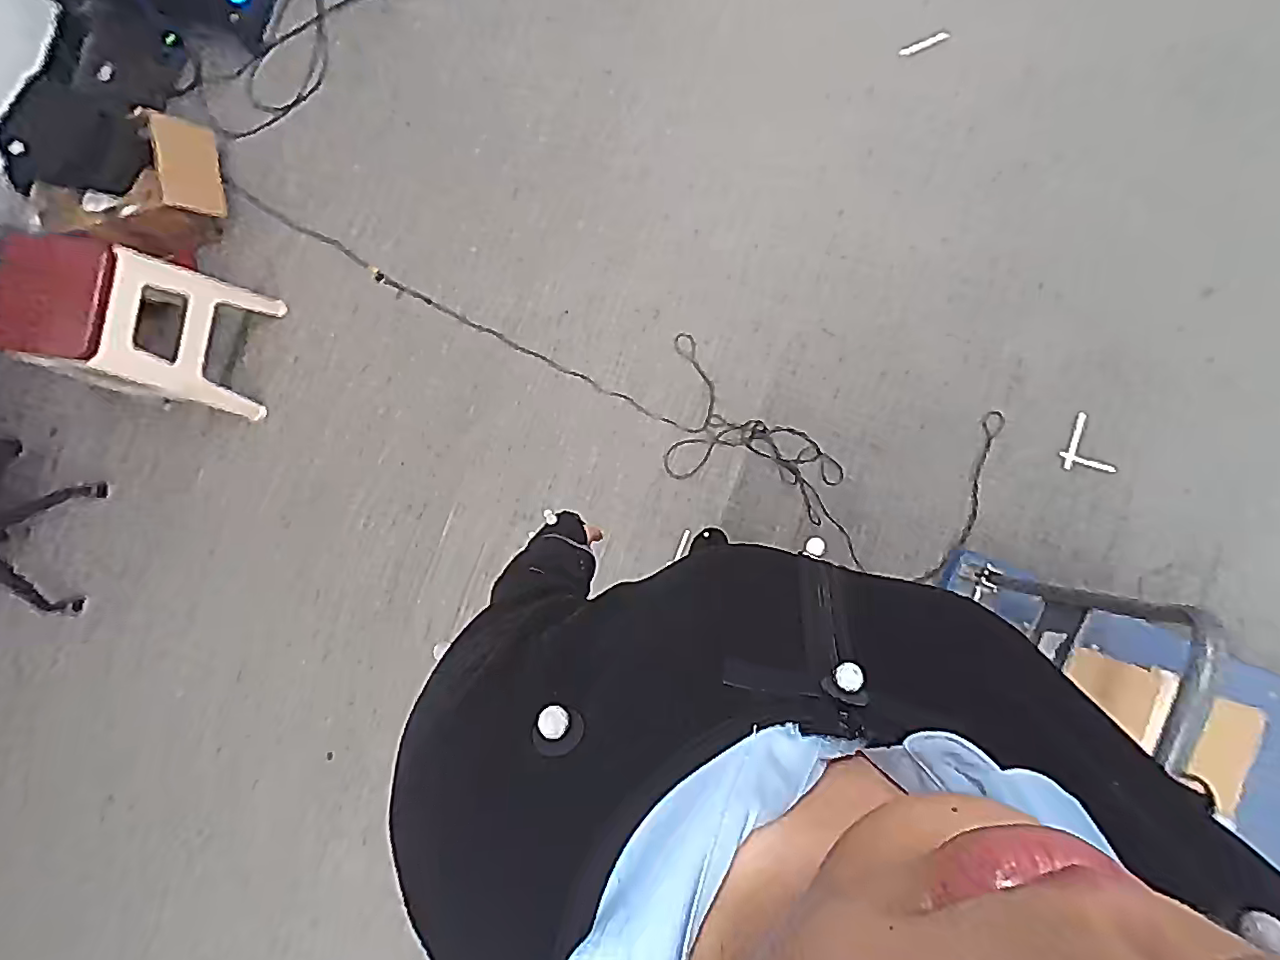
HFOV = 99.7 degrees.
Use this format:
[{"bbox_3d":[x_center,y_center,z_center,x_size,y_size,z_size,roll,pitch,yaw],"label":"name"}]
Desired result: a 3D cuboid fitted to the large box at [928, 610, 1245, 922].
[{"bbox_3d":[0.847,0.522,1.083,0.320,0.320,0.408,19,89,9],"label":"large box"}]
